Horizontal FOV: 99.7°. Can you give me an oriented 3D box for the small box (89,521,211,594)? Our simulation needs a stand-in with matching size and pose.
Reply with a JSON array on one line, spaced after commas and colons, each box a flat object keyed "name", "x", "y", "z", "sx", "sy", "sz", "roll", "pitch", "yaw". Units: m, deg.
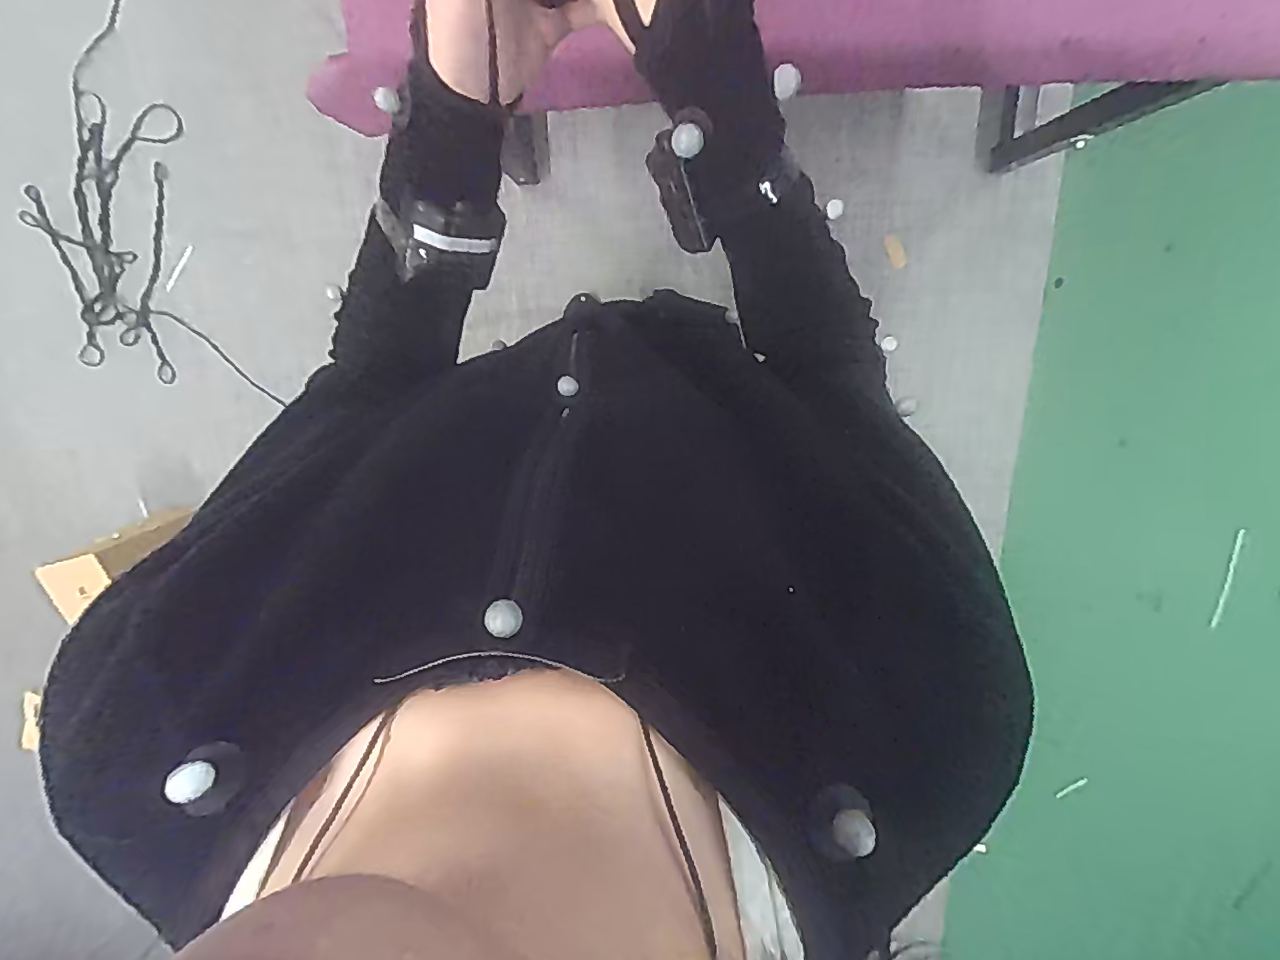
[{"name": "small box", "x": -1.367, "y": 0.227, "z": 1.528, "sx": 0.179, "sy": 0.176, "sz": 0.168, "roll": -9, "pitch": 105, "yaw": 4}]

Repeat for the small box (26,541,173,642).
[{"name": "small box", "x": -1.356, "y": 0.277, "z": 1.373, "sx": 0.168, "sy": 0.176, "sz": 0.179, "roll": -14, "pitch": 105, "yaw": 4}]
